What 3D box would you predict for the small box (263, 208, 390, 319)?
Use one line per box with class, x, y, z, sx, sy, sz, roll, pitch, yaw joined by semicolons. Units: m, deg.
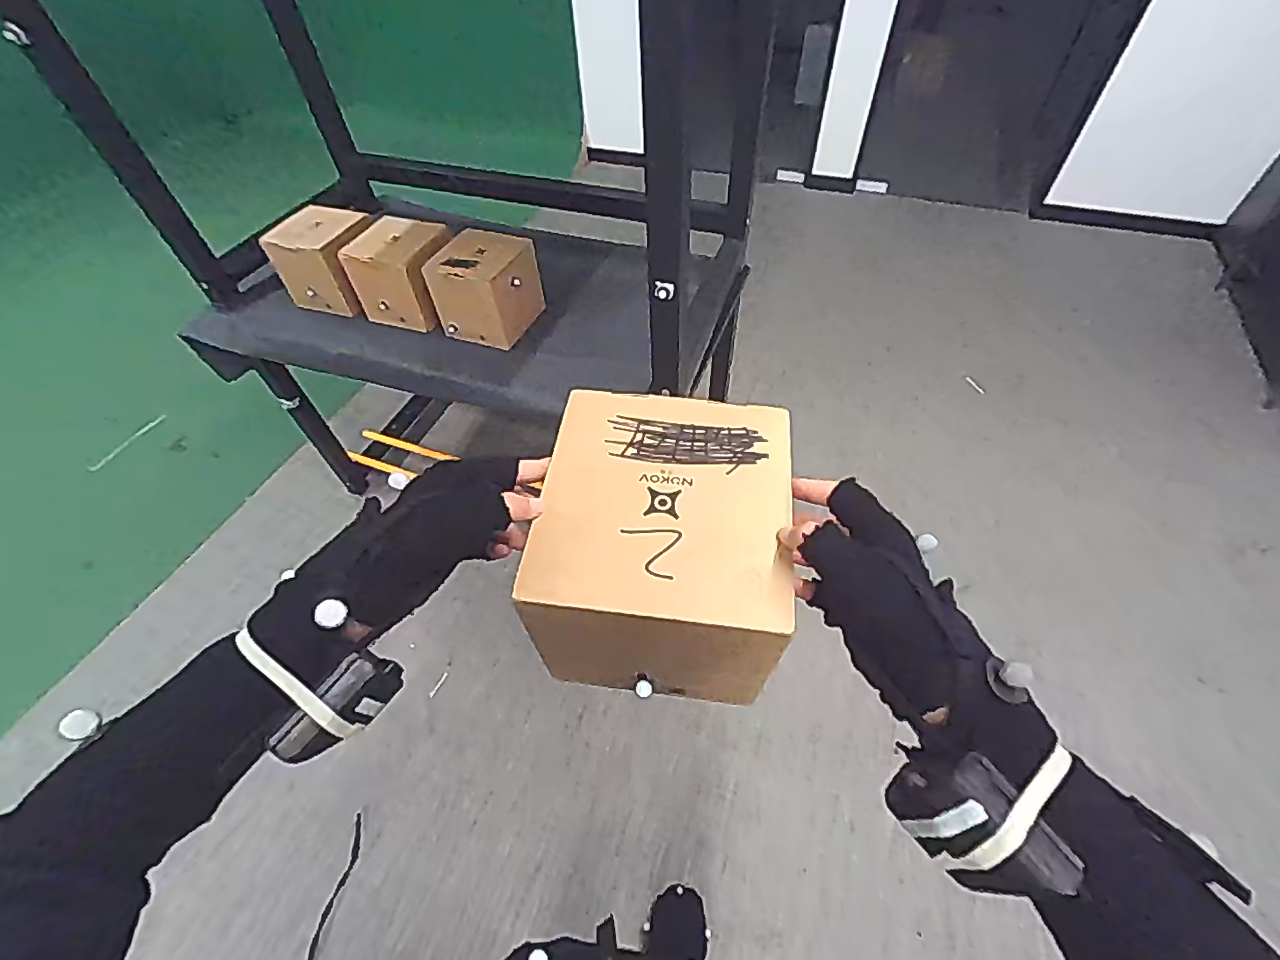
small box;-0.724;-0.511;1.278;0.168;0.176;0.179;14;53;13
